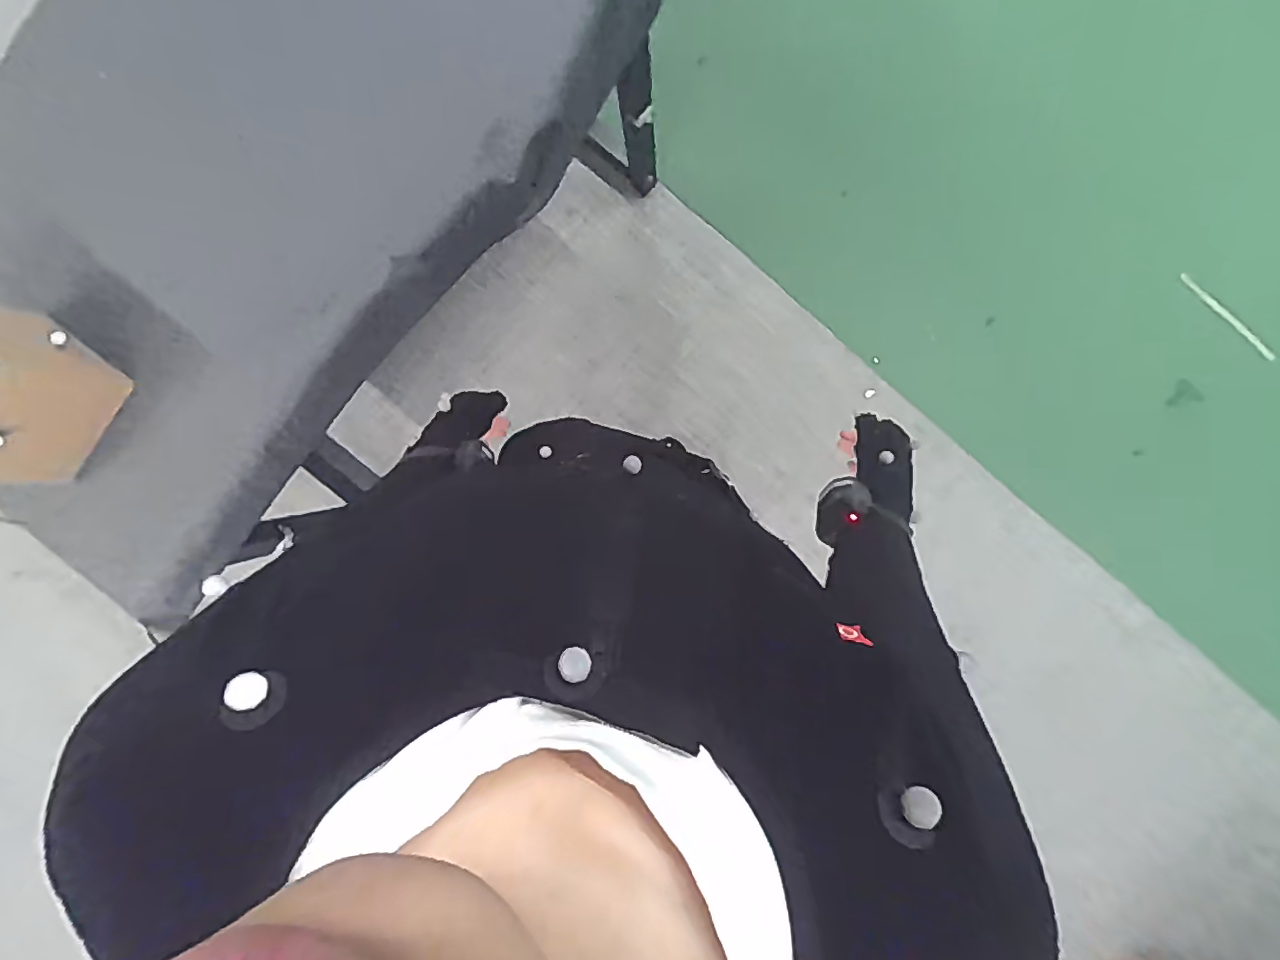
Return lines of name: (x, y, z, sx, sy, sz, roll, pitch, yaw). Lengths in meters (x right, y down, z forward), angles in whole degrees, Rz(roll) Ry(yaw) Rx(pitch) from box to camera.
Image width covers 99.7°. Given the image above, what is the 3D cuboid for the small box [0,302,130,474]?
small box: (-0.827, -0.117, 0.691, 0.168, 0.176, 0.179, 37, 93, 1)
